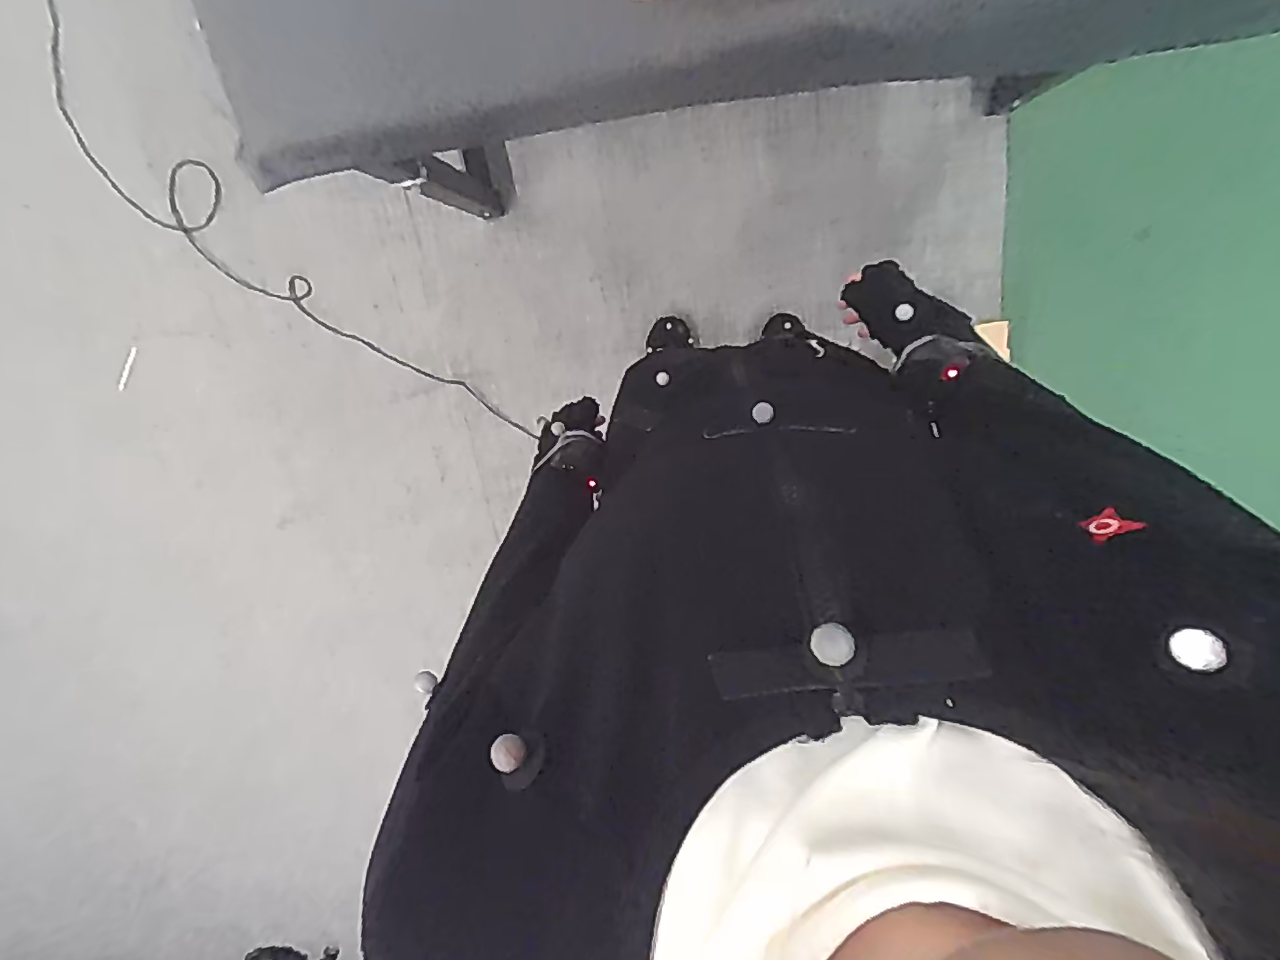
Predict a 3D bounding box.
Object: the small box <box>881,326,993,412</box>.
[{"bbox_3d":[0.682,-0.262,1.257,0.179,0.176,0.168,-6,107,7],"label":"small box"}]
